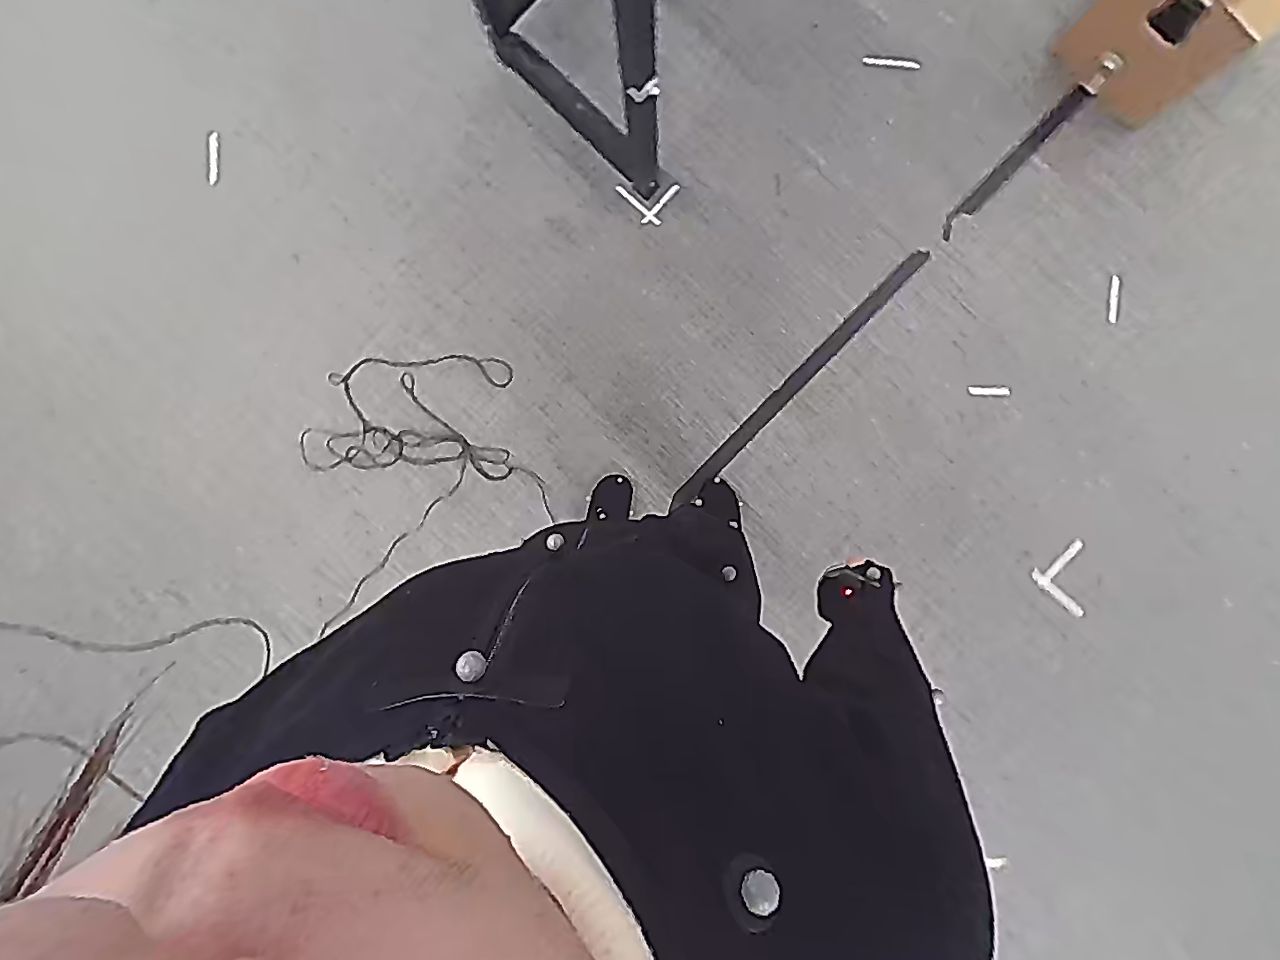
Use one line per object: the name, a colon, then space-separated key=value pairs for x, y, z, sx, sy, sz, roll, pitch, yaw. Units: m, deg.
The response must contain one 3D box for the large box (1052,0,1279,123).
large box: x=1.293 y=-1.152 z=1.237 sx=0.320 sy=0.320 sz=0.408 roll=45 pitch=93 yaw=-1
